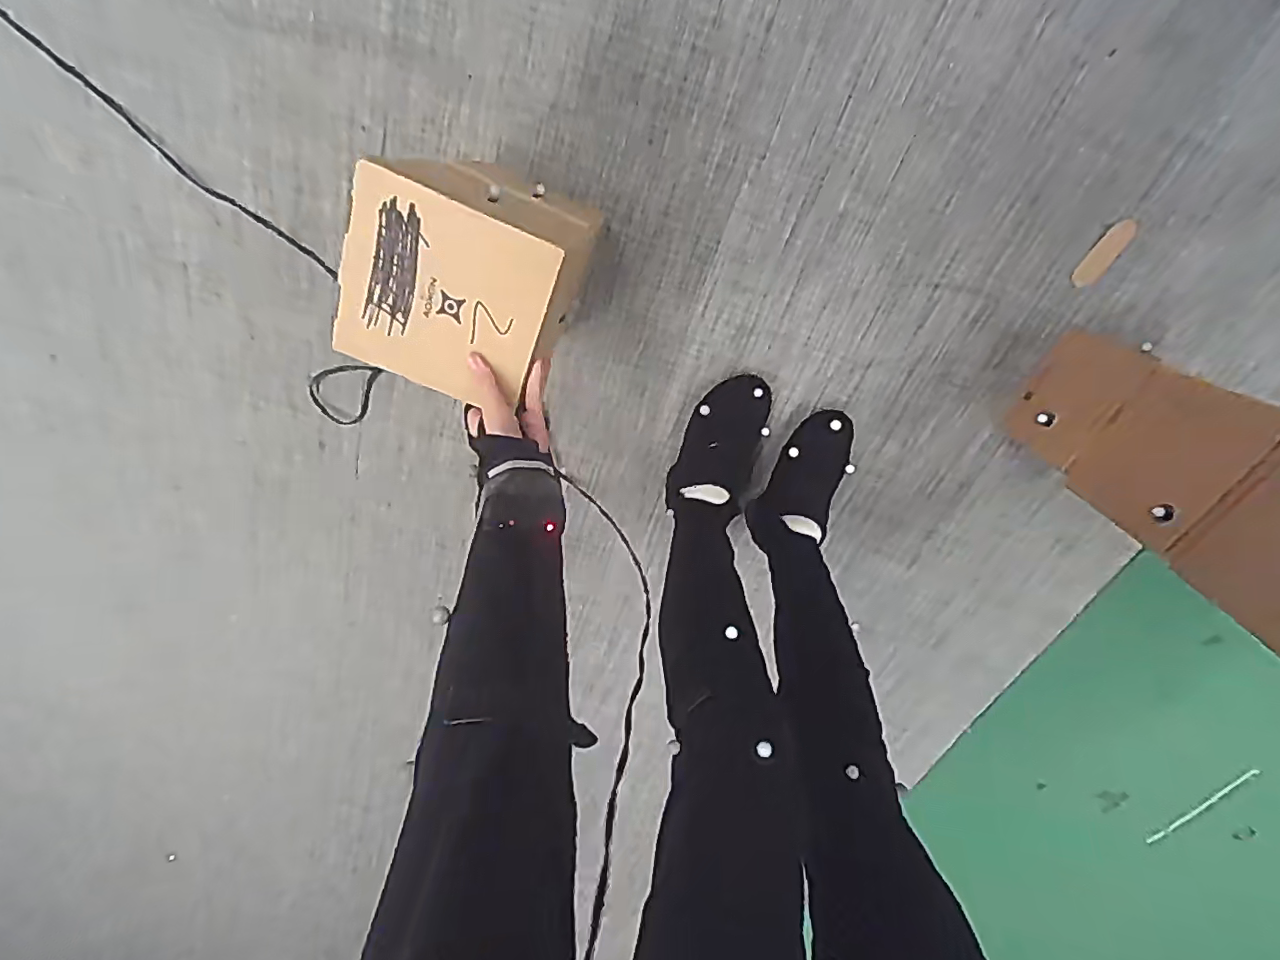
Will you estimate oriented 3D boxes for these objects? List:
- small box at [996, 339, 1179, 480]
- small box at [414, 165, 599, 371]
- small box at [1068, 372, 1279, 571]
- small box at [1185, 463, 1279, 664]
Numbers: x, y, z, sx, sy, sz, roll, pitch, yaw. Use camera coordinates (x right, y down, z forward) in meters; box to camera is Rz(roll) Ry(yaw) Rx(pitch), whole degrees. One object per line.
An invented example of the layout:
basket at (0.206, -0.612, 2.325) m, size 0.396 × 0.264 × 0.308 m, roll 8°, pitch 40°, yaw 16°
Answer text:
small box at (0.653, -0.082, 0.754) m, size 0.179 × 0.176 × 0.168 m, roll 19°, pitch 118°, yaw -8°
small box at (-0.159, -0.271, 0.685) m, size 0.168 × 0.176 × 0.179 m, roll 22°, pitch 118°, yaw -9°
small box at (0.652, -0.002, 0.614) m, size 0.168 × 0.176 × 0.179 m, roll 17°, pitch 119°, yaw -7°
small box at (0.657, 0.090, 0.476) m, size 0.168 × 0.176 × 0.179 m, roll 17°, pitch 119°, yaw -8°
